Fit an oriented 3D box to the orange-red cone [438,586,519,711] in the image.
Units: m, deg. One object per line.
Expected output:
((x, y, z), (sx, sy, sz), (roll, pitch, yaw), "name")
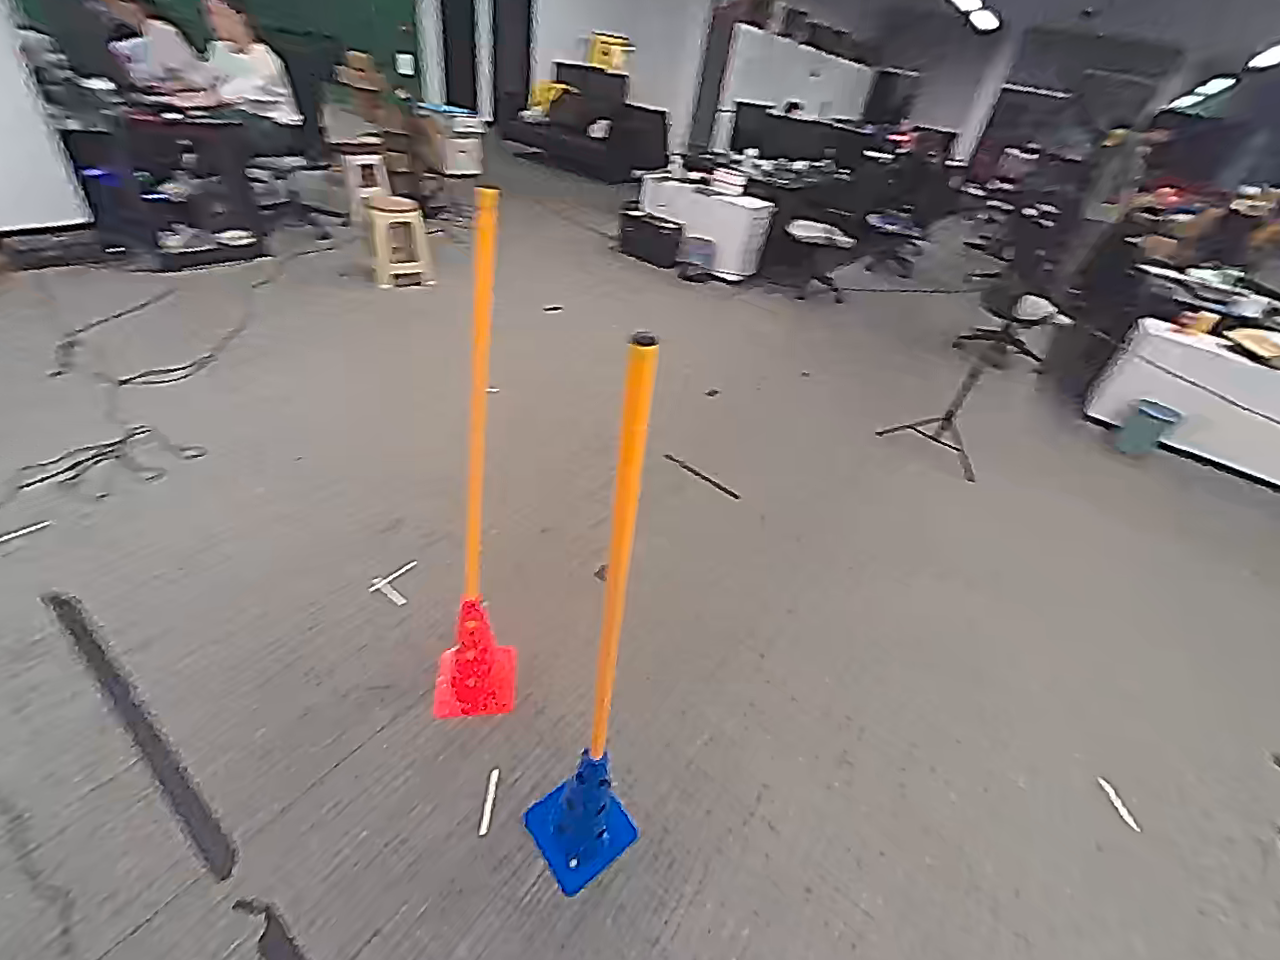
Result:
((-0.405, 0.394, 1.343), (0.198, 0.360, 0.199), (2, 40, -10), "orange-red cone")

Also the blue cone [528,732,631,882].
((-0.112, 0.641, 1.121), (0.193, 0.380, 0.192), (-20, 46, -33), "blue cone")
